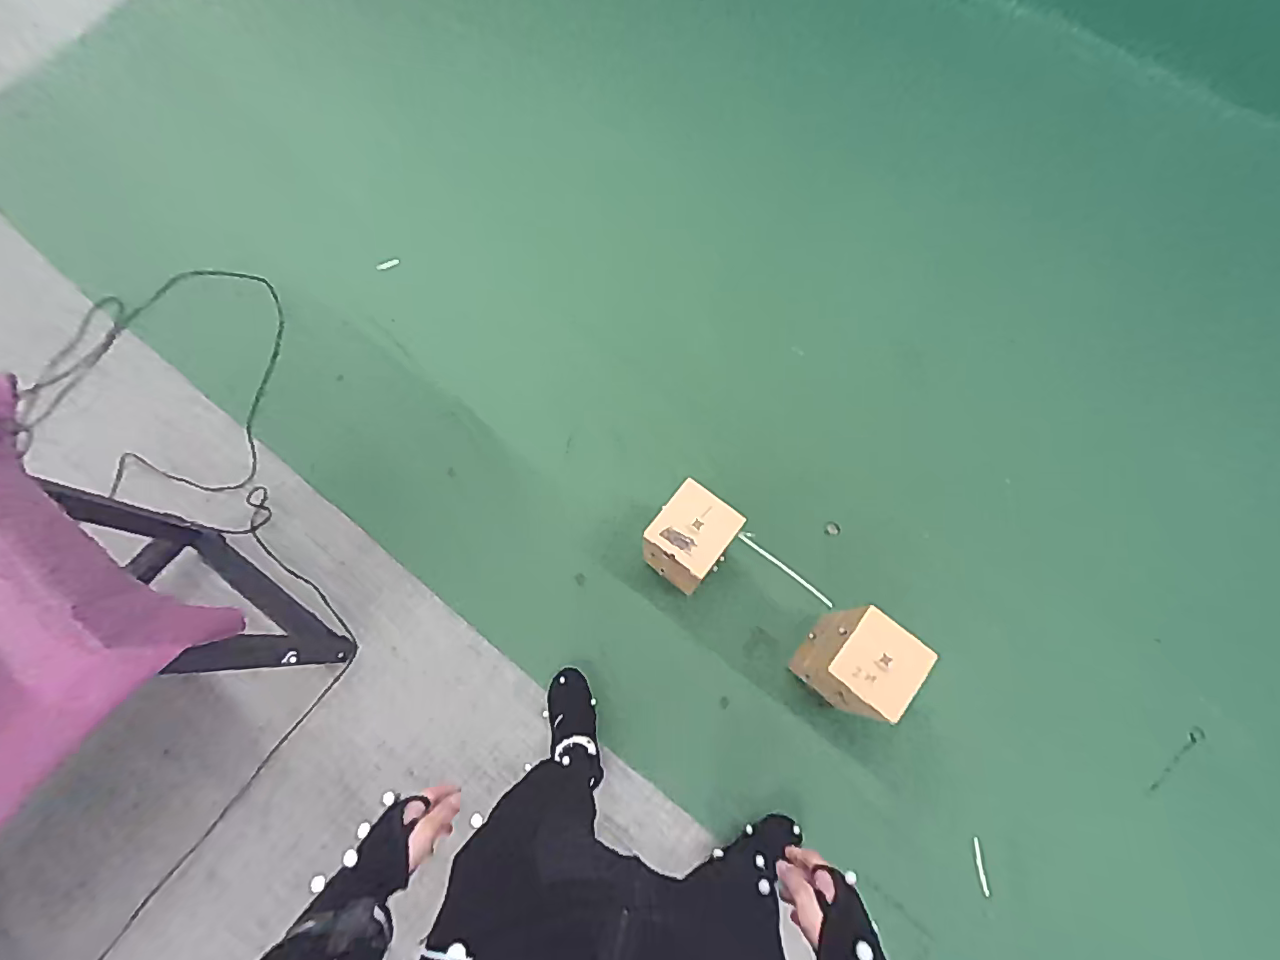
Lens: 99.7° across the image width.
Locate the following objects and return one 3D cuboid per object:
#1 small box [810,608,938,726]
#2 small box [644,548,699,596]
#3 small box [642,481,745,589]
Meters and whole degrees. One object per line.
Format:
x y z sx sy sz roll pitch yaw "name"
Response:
0.502 0.406 1.191 0.168 0.176 0.179 38 76 11 "small box"
0.123 0.189 1.437 0.168 0.176 0.179 37 76 11 "small box"
0.122 0.138 1.281 0.168 0.176 0.179 37 75 11 "small box"
